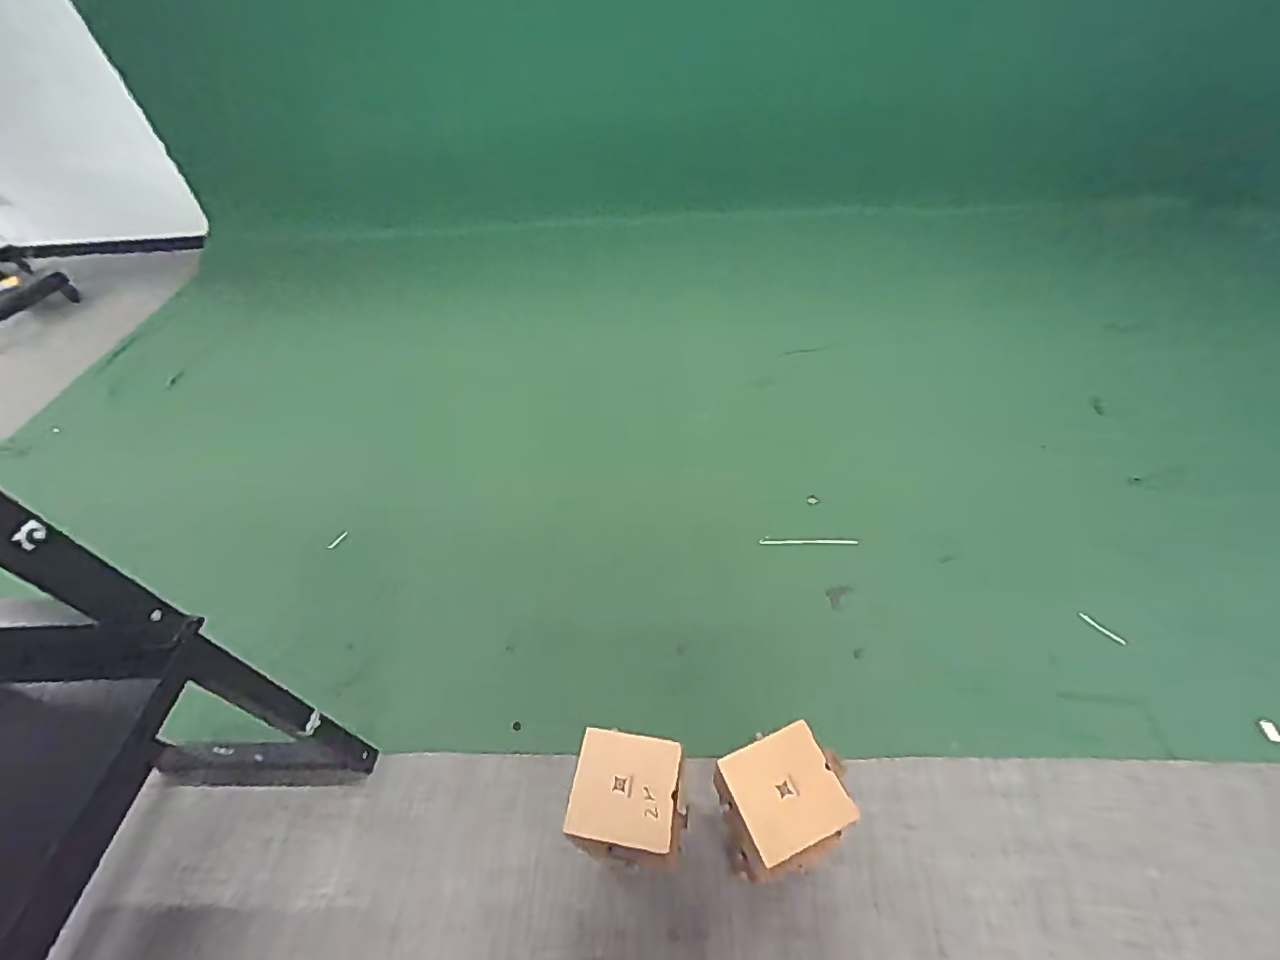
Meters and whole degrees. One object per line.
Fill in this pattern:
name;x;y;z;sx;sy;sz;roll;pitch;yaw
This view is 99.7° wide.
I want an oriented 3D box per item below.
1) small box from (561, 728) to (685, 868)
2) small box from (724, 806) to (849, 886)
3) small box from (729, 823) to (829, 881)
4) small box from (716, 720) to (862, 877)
small box;-0.019;0.558;0.944;0.179;0.176;0.168;5;50;10
small box;0.270;0.661;1.051;0.179;0.176;0.168;-16;51;-10
small box;0.289;0.759;1.180;0.179;0.176;0.168;-6;49;-2
small box;0.244;0.552;0.932;0.179;0.176;0.168;-20;51;-13
